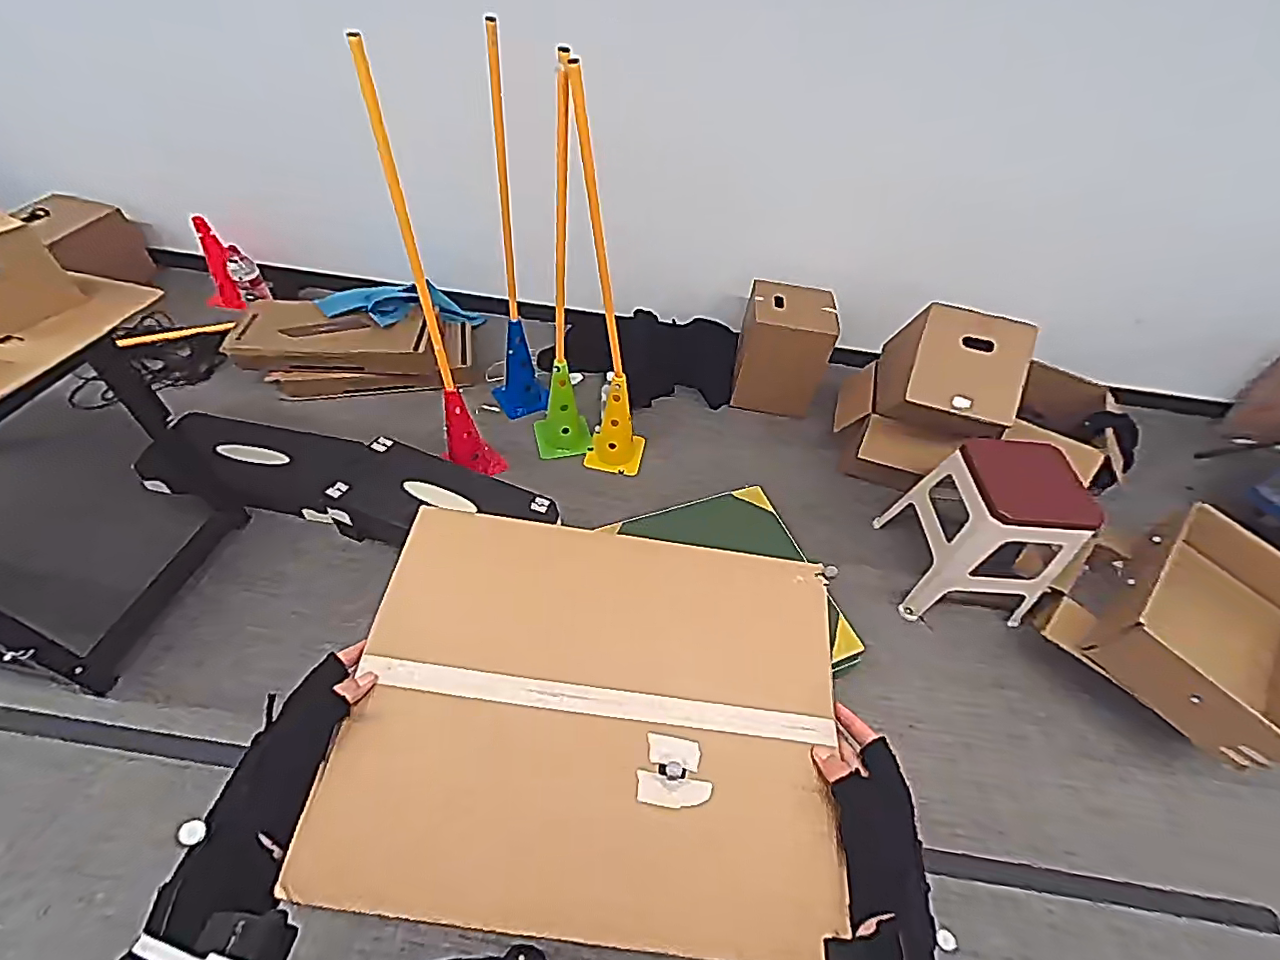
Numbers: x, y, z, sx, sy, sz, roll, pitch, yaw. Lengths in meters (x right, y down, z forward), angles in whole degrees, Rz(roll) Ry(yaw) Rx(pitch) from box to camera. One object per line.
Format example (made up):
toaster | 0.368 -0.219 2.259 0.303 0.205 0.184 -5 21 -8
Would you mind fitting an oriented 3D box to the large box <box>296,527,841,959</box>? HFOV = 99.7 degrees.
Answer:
large box | -0.051 0.278 0.591 0.408 0.320 0.320 9 58 -2
